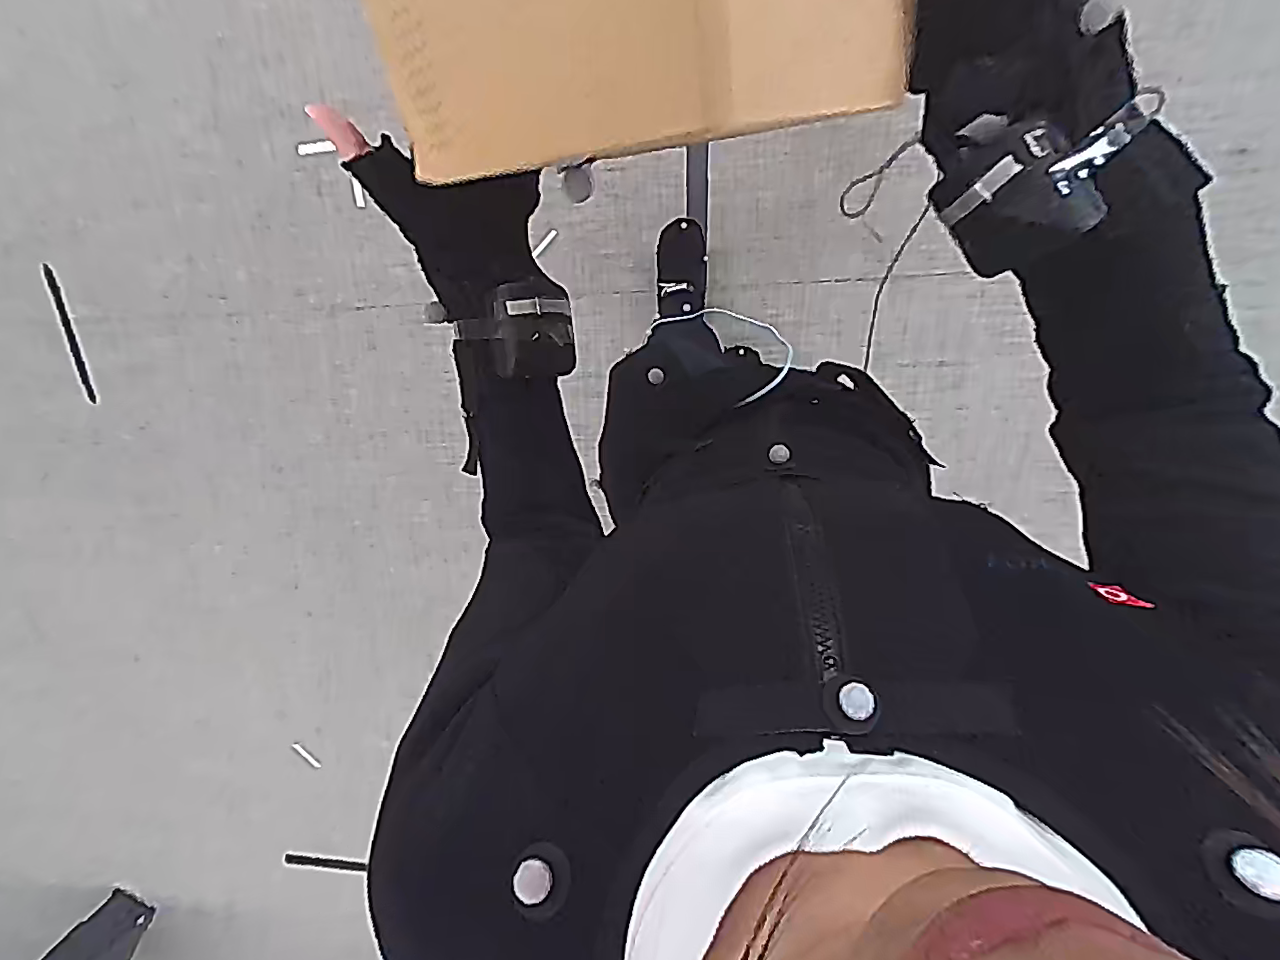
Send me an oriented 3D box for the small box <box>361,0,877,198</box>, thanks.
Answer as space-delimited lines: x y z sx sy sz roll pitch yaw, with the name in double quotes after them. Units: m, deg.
-0.014 -0.236 0.230 0.176 0.168 0.179 18 130 40 "small box"
